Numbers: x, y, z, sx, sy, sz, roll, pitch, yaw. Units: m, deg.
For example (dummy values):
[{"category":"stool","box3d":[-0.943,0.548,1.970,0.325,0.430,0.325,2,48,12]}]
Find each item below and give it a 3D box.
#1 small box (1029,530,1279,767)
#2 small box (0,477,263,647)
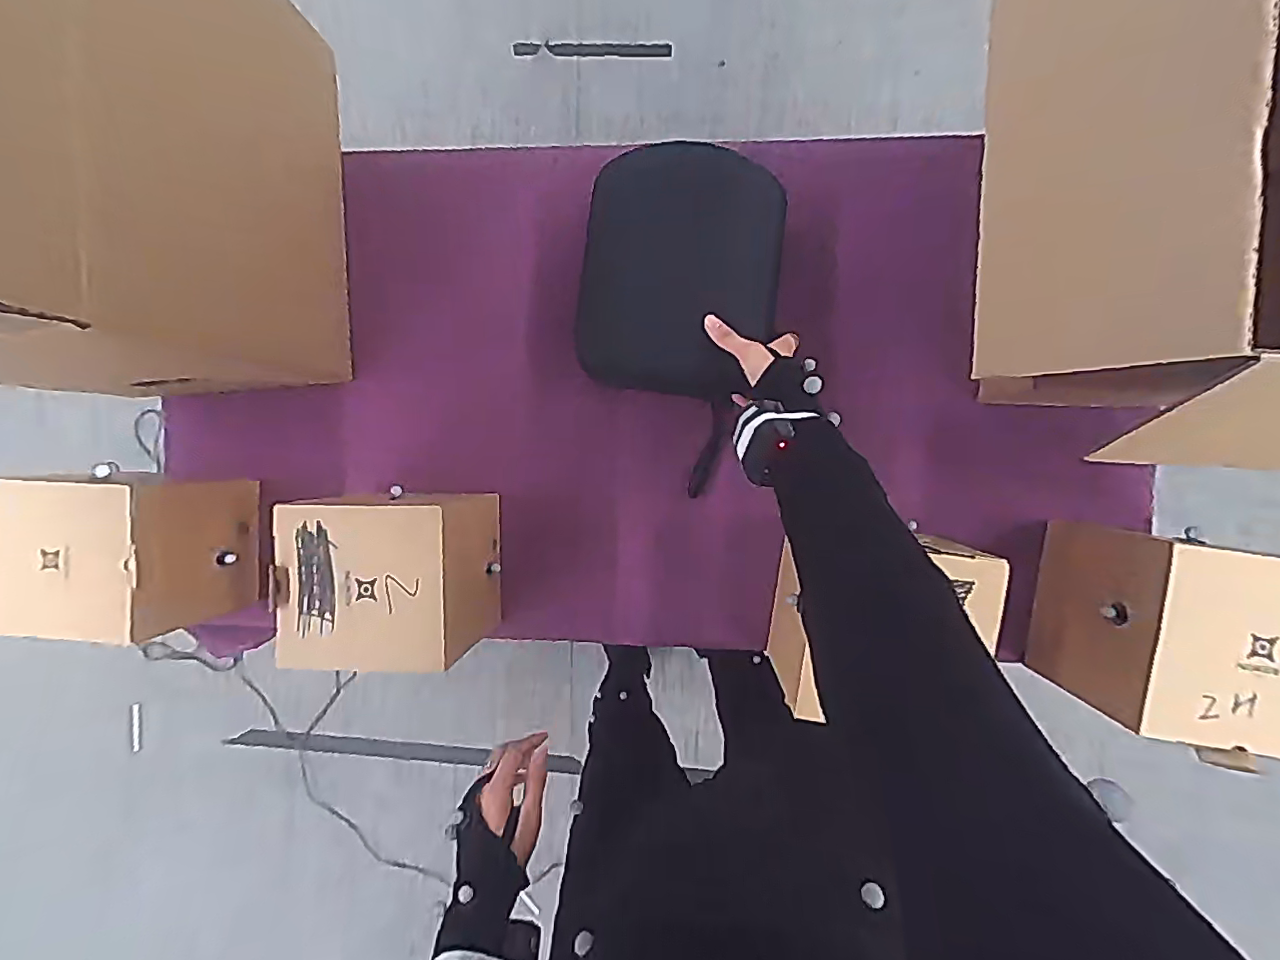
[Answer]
[{"category":"small box","box3d":[0.529,0.151,0.537,0.168,0.176,0.179,9,92,6]},{"category":"small box","box3d":[-0.591,0.083,0.636,0.179,0.176,0.168,2,92,4]}]
